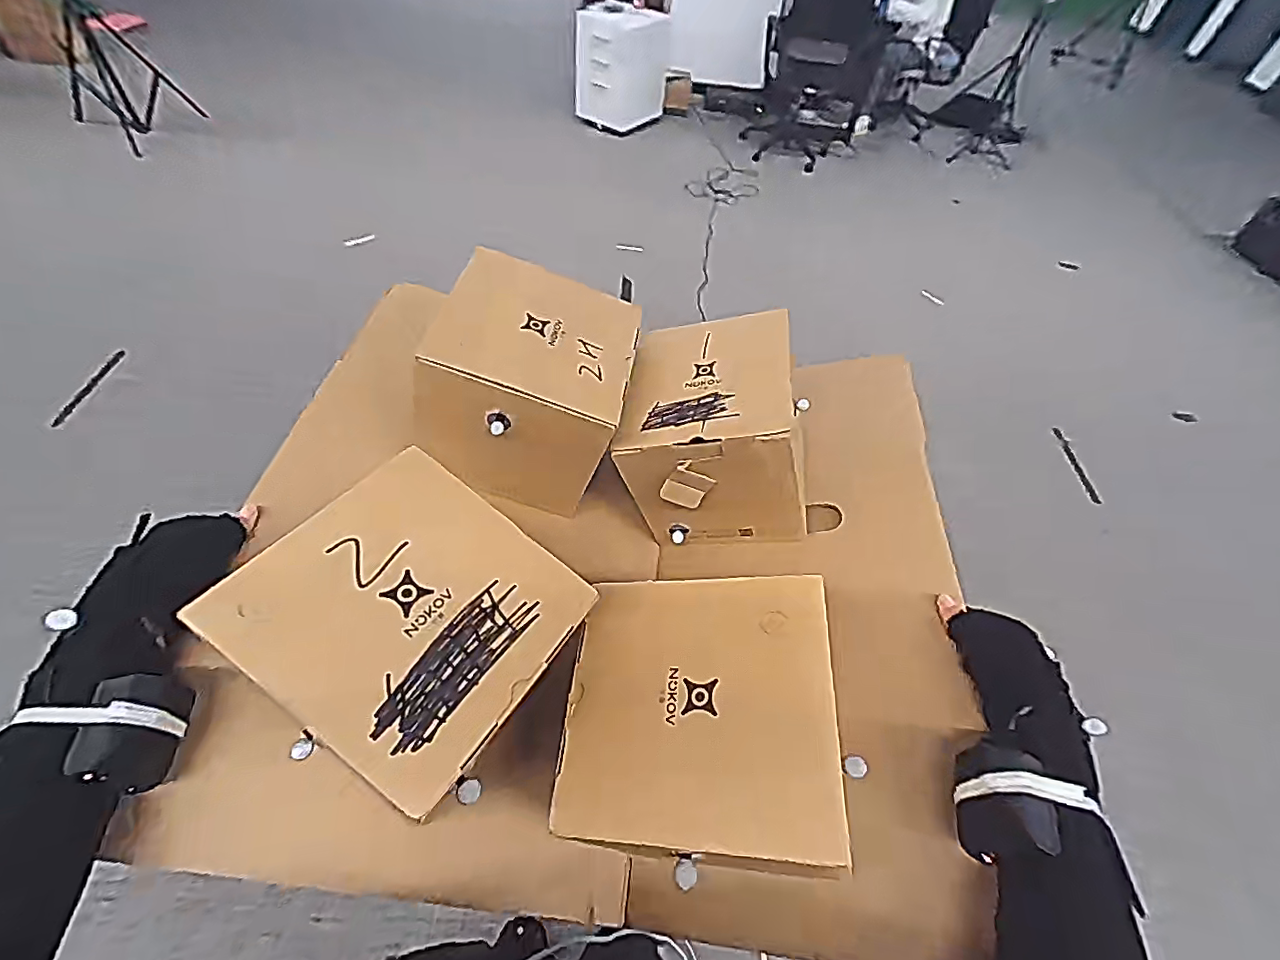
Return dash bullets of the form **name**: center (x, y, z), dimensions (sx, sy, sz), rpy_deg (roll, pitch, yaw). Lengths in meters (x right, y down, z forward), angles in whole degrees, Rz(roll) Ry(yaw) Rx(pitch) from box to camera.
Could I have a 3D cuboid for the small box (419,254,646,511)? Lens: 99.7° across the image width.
- **small box**: center (-0.113, -0.090, 0.560), dimensions (0.179, 0.176, 0.168), rpy_deg (20, 53, -11)
